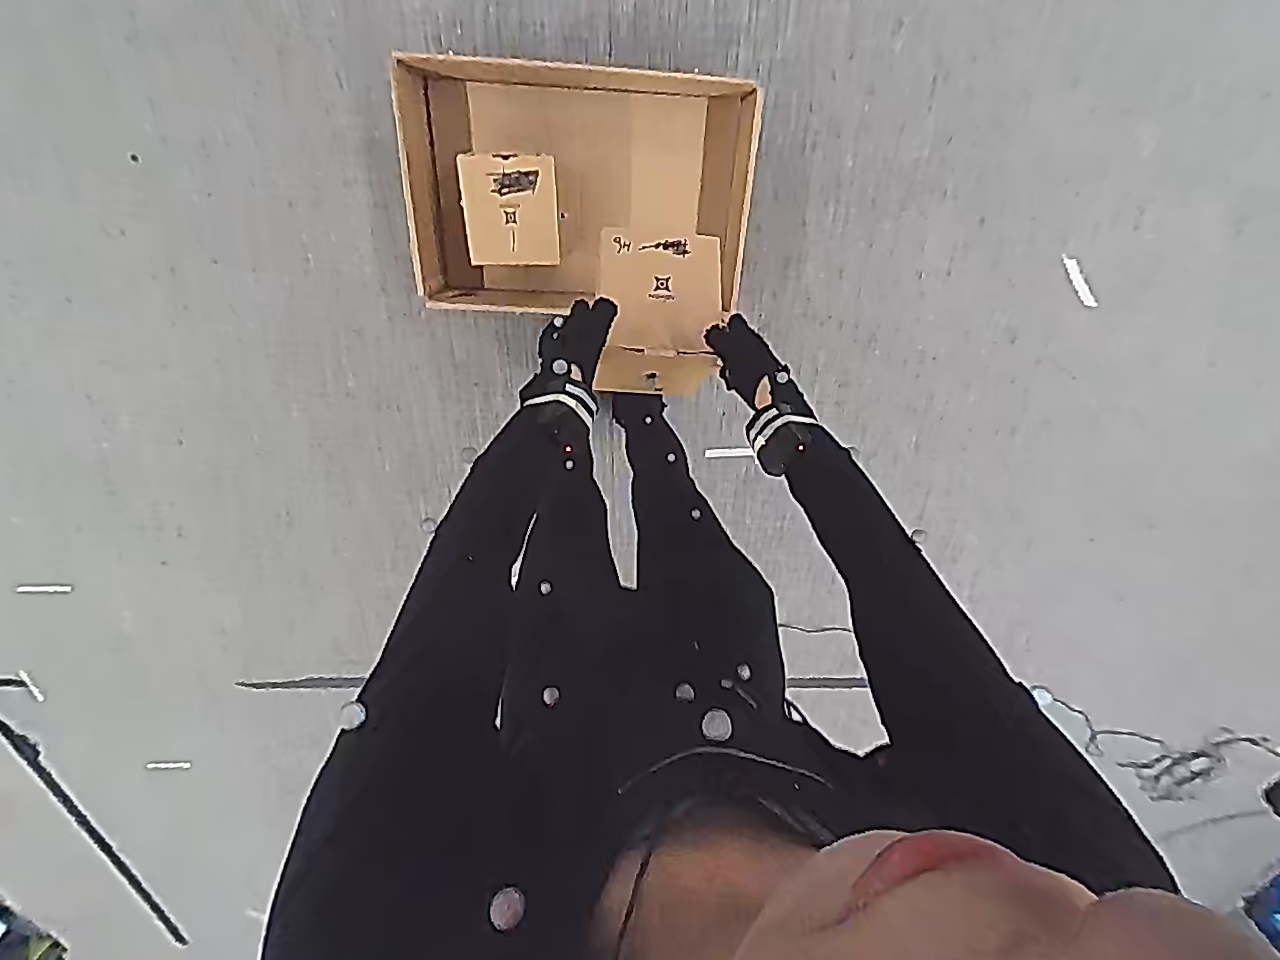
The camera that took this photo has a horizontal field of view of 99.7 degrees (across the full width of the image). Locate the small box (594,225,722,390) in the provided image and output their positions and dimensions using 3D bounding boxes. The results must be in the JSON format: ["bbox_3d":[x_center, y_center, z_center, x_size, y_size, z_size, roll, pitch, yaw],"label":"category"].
[{"bbox_3d":[0.020,-0.241,0.795,0.168,0.176,0.179,2,81,-7],"label":"small box"}]

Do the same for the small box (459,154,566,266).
[{"bbox_3d":[-0.228,-0.504,1.014,0.168,0.176,0.179,-1,118,-3],"label":"small box"}]
